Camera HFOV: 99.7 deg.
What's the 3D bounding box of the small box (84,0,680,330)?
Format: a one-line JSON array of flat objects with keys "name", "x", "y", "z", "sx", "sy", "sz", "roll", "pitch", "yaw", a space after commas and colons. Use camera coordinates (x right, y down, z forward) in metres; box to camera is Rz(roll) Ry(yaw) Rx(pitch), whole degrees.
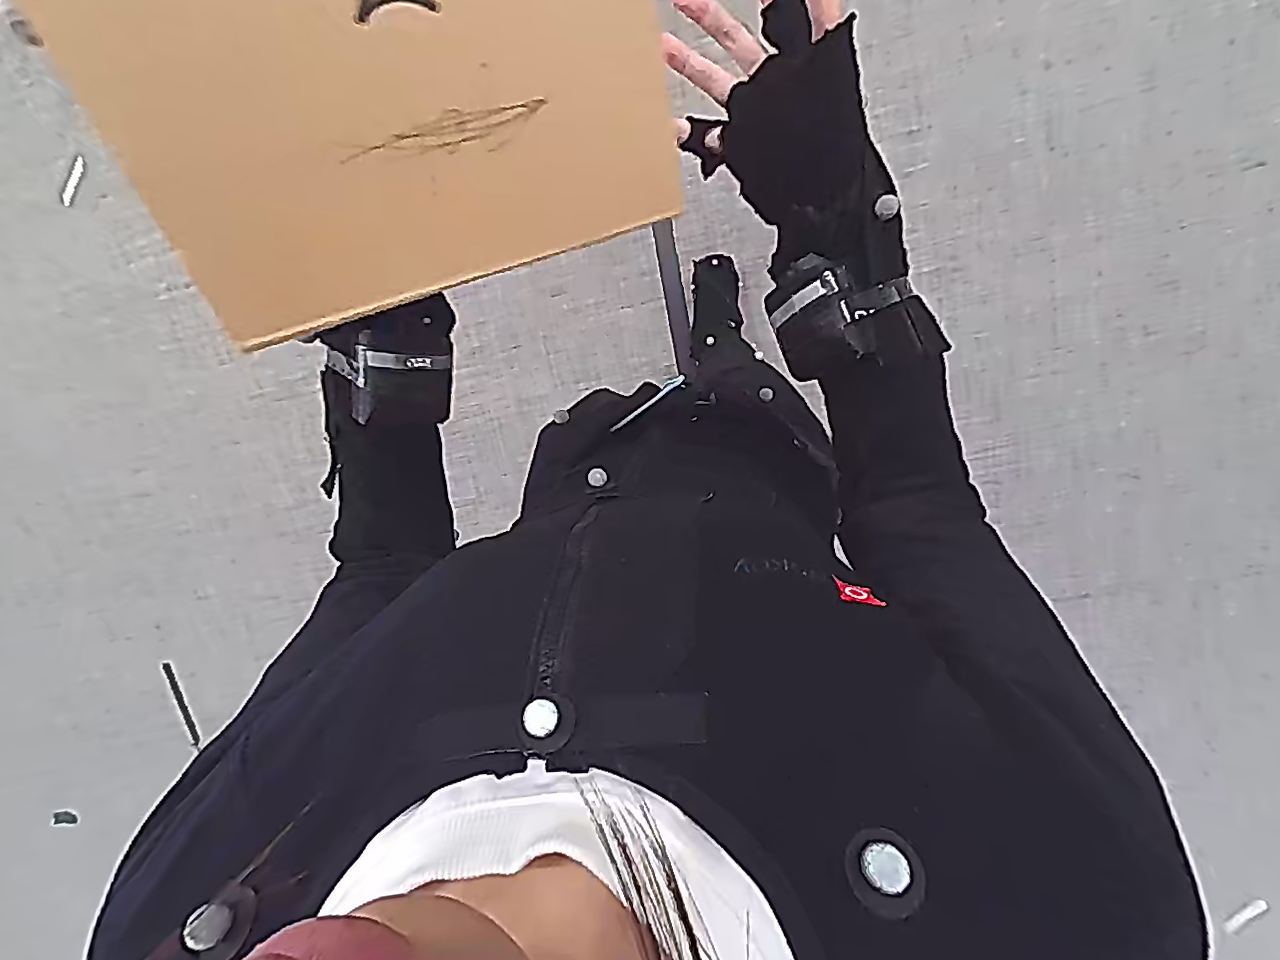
[{"name": "small box", "x": -0.106, "y": -0.183, "z": 0.225, "sx": 0.168, "sy": 0.176, "sz": 0.179, "roll": -24, "pitch": 123, "yaw": -16}]
